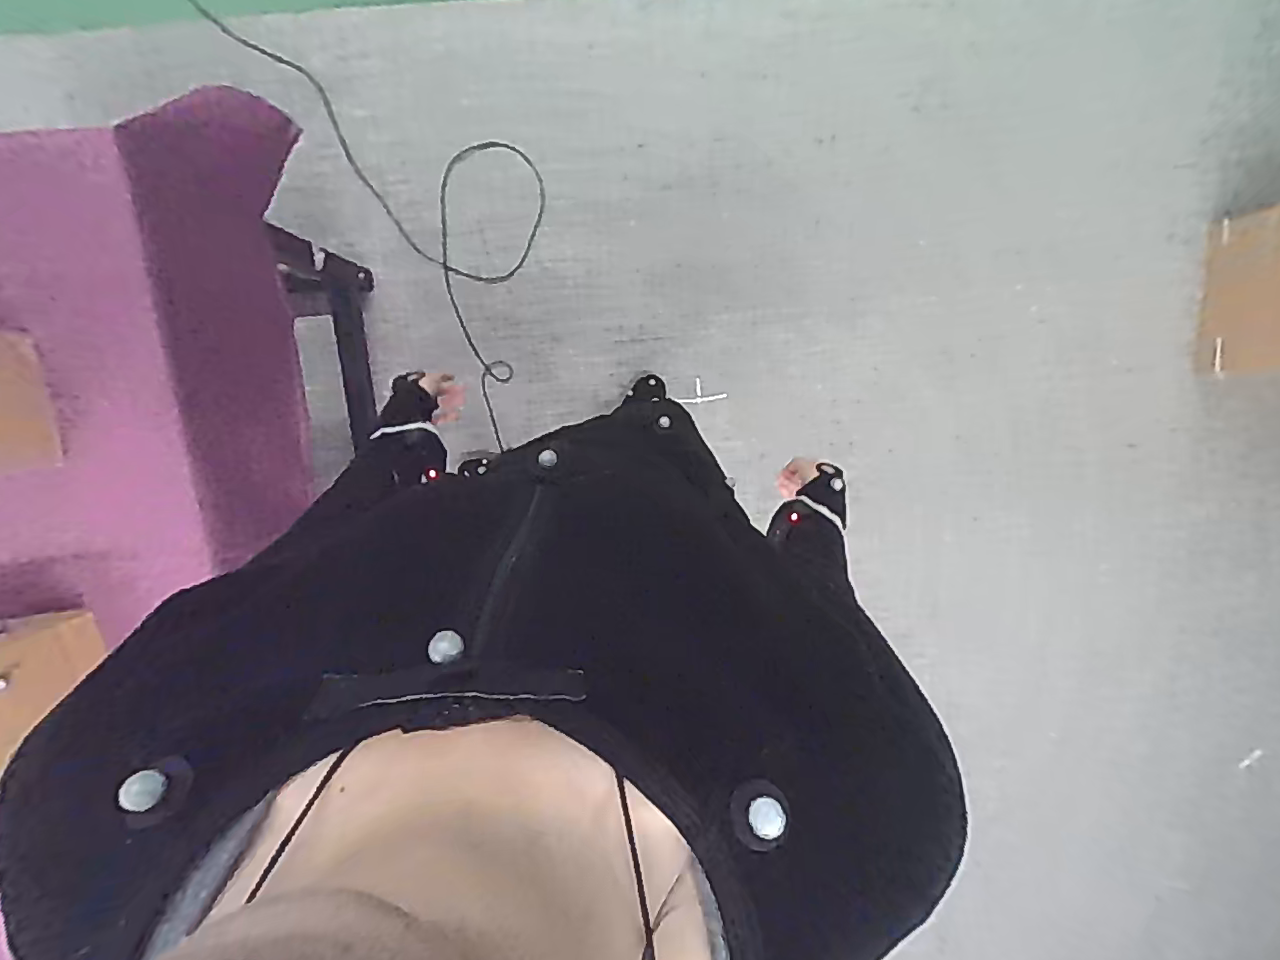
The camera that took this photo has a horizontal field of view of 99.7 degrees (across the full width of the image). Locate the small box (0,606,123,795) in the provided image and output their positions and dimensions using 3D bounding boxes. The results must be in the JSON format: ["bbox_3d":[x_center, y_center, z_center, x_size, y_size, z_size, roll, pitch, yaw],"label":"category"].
[{"bbox_3d":[-0.846,0.287,0.710,0.168,0.176,0.179,-8,99,0],"label":"small box"}]

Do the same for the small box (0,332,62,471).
[{"bbox_3d":[-0.861,-0.091,0.643,0.168,0.176,0.179,-4,99,-2],"label":"small box"}]
